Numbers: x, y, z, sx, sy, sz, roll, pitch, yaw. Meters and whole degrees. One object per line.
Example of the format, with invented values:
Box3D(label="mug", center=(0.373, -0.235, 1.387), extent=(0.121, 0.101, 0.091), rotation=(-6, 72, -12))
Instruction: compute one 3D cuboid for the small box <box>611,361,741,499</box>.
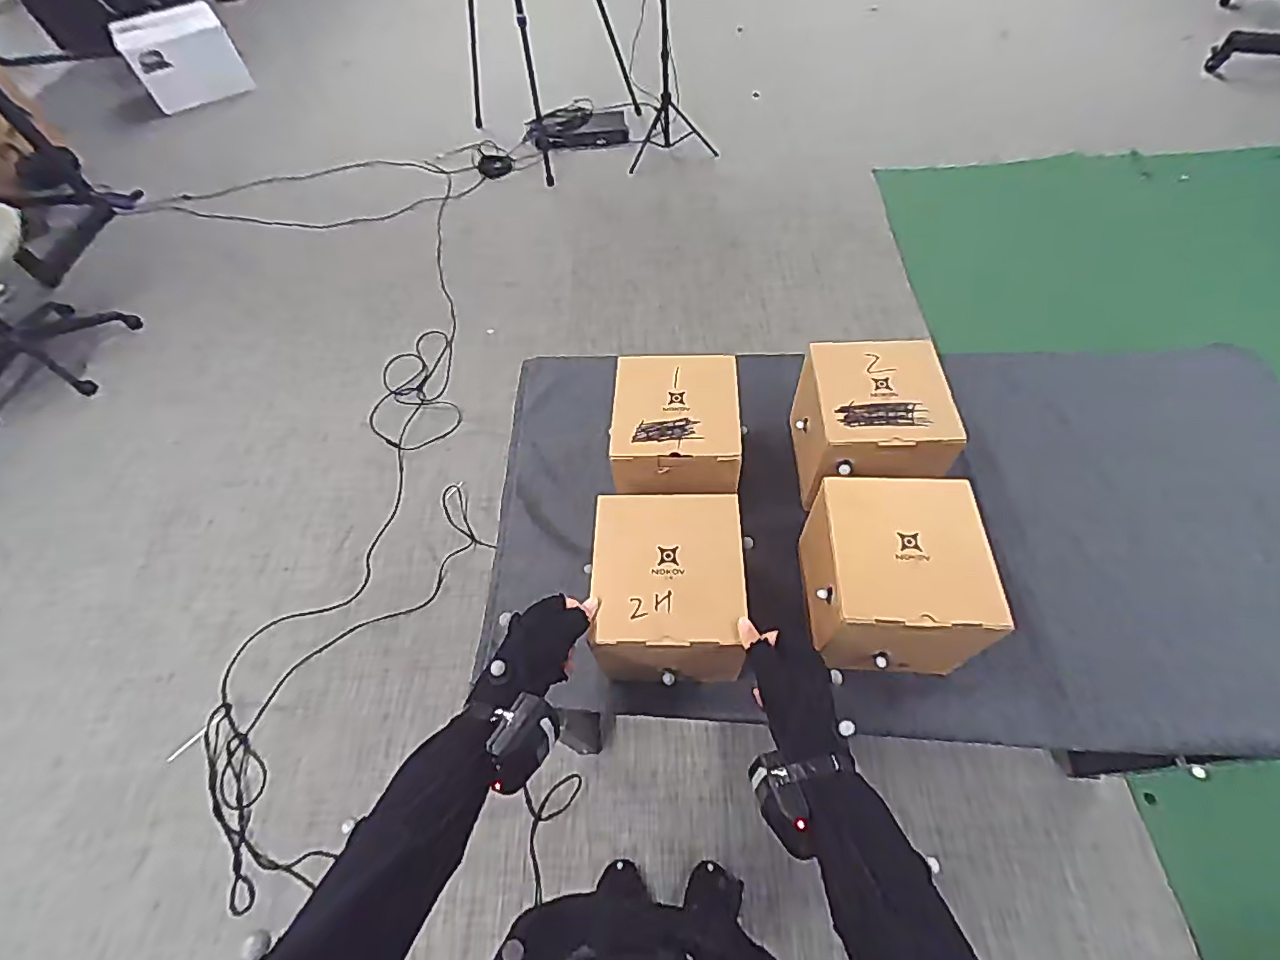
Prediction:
Box3D(label="small box", center=(0.055, -0.049, 0.781), extent=(0.168, 0.176, 0.179), rotation=(1, 57, 5))

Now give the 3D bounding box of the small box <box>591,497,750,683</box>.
Box3D(label="small box", center=(0.038, 0.137, 0.660), extent=(0.168, 0.176, 0.179), rotation=(-1, 58, 4))
